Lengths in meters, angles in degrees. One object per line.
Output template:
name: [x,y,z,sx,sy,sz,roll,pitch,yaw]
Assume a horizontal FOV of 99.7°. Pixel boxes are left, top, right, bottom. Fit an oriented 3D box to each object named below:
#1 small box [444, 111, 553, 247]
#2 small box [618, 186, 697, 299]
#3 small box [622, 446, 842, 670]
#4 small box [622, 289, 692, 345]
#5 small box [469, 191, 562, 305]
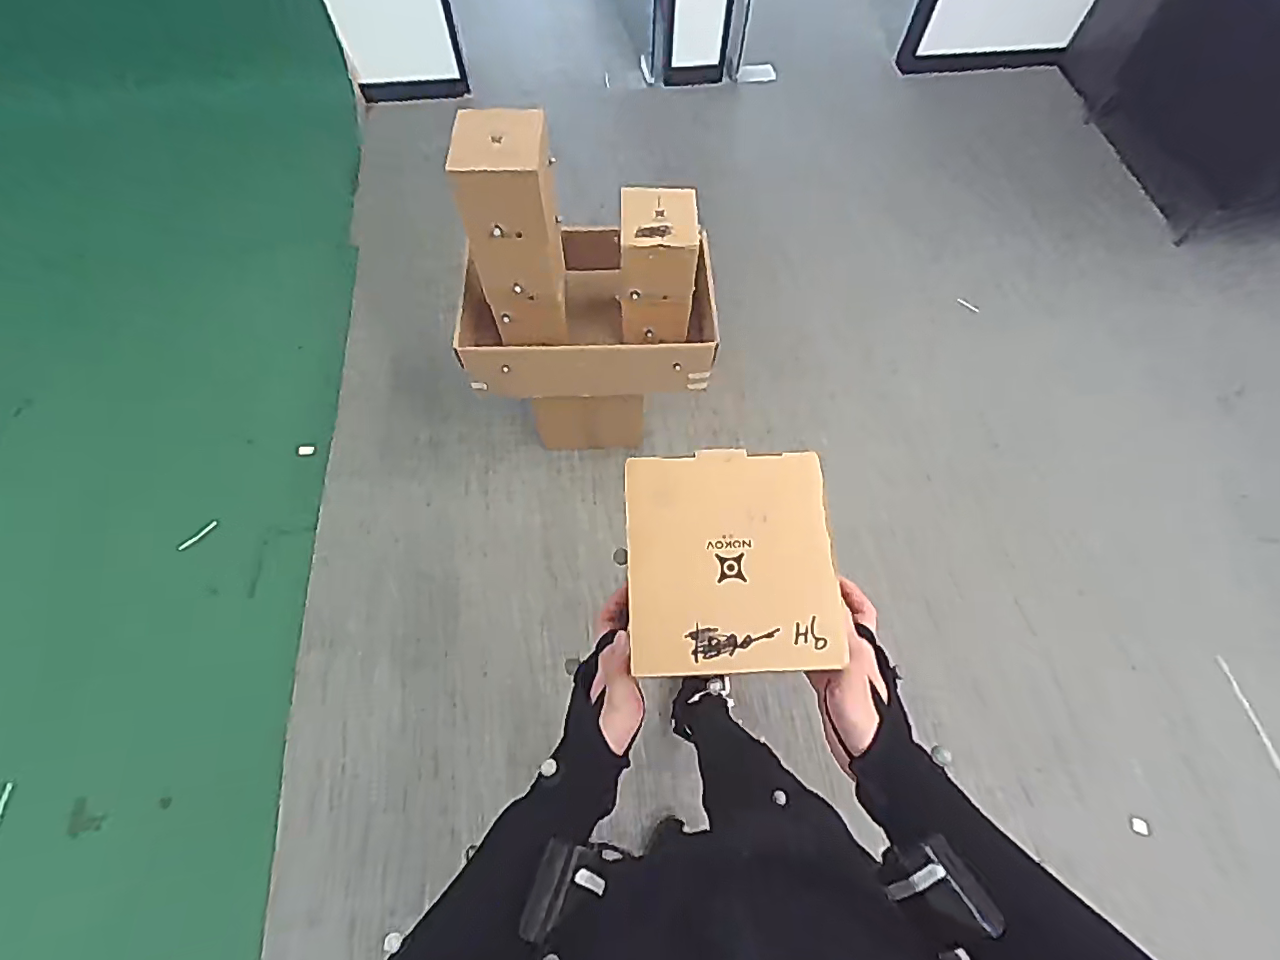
small box: [-0.266,-0.586,1.060,0.168,0.176,0.179,-1,65,0]
small box: [0.037,-0.527,1.216,0.168,0.176,0.179,0,65,-1]
small box: [0.067,0.081,0.504,0.168,0.176,0.179,-2,71,0]
small box: [0.037,-0.465,1.369,0.168,0.176,0.179,-2,66,-2]
small box: [-0.269,-0.519,1.208,0.168,0.176,0.179,0,65,0]
